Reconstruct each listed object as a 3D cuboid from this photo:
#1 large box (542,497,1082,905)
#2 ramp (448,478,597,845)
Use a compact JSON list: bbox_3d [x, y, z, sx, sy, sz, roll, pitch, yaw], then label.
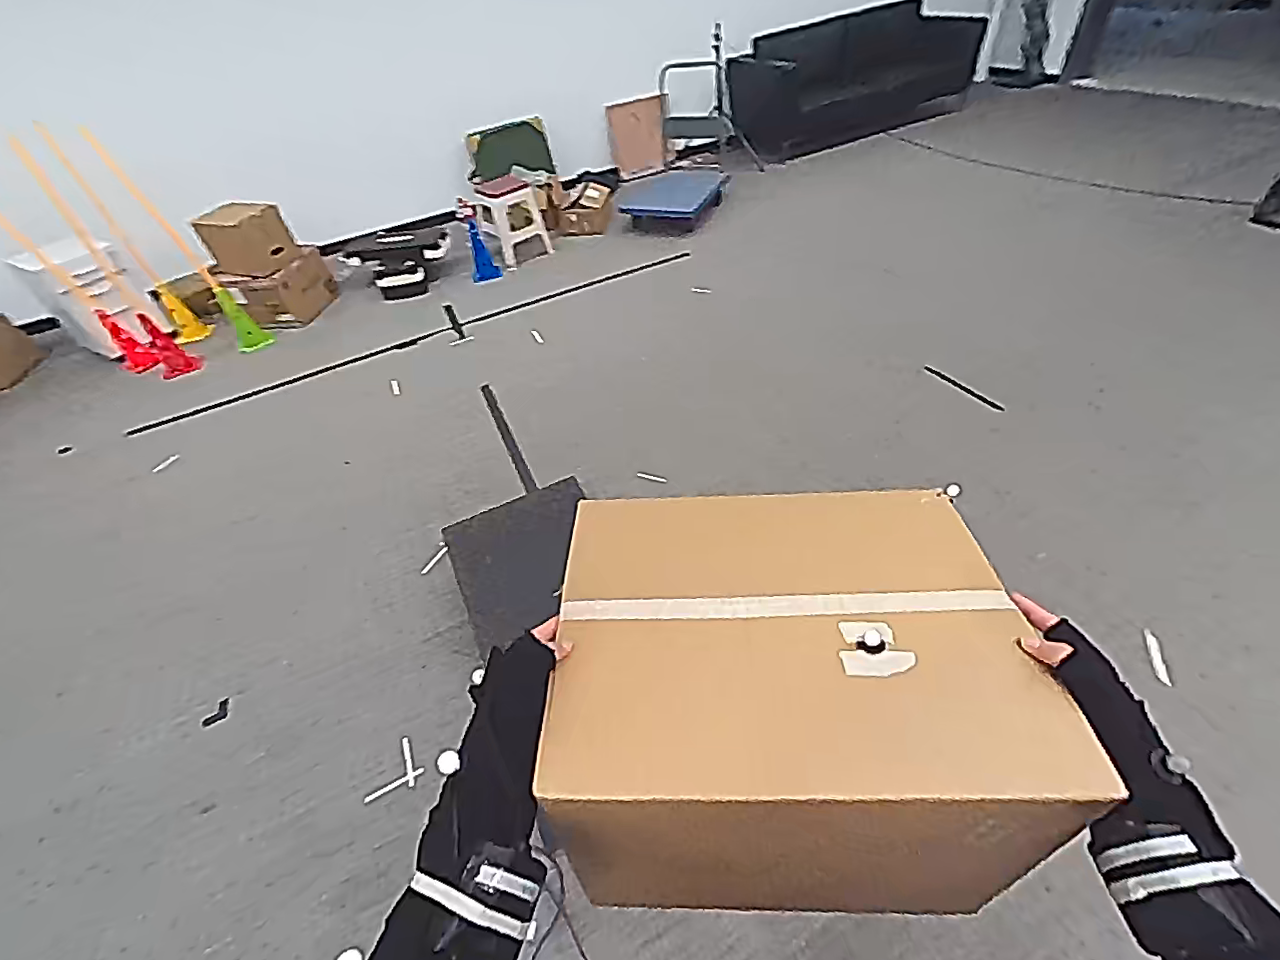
[{"bbox_3d":[0.132,0.241,0.603,0.408,0.320,0.320,-2,40,3],"label":"large box"},{"bbox_3d":[-0.212,0.439,1.623,0.509,0.206,0.991,-24,46,-16],"label":"ramp"}]
